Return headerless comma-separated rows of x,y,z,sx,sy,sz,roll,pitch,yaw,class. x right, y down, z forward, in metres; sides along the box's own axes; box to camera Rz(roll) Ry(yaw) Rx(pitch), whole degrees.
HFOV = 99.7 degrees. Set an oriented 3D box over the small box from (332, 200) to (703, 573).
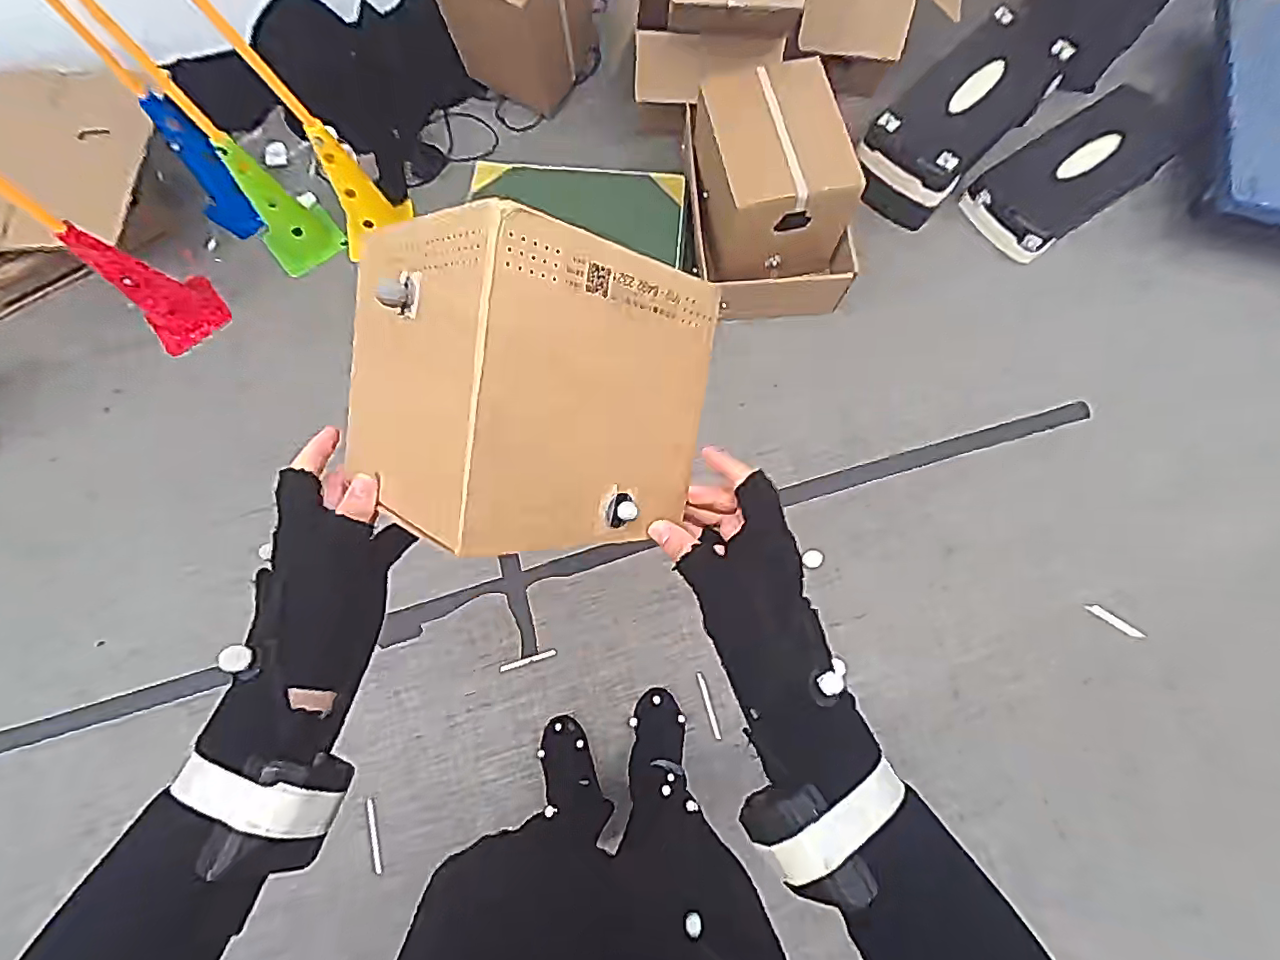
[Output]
-0.081,-0.057,0.347,0.179,0.168,0.176,19,105,46,small box
